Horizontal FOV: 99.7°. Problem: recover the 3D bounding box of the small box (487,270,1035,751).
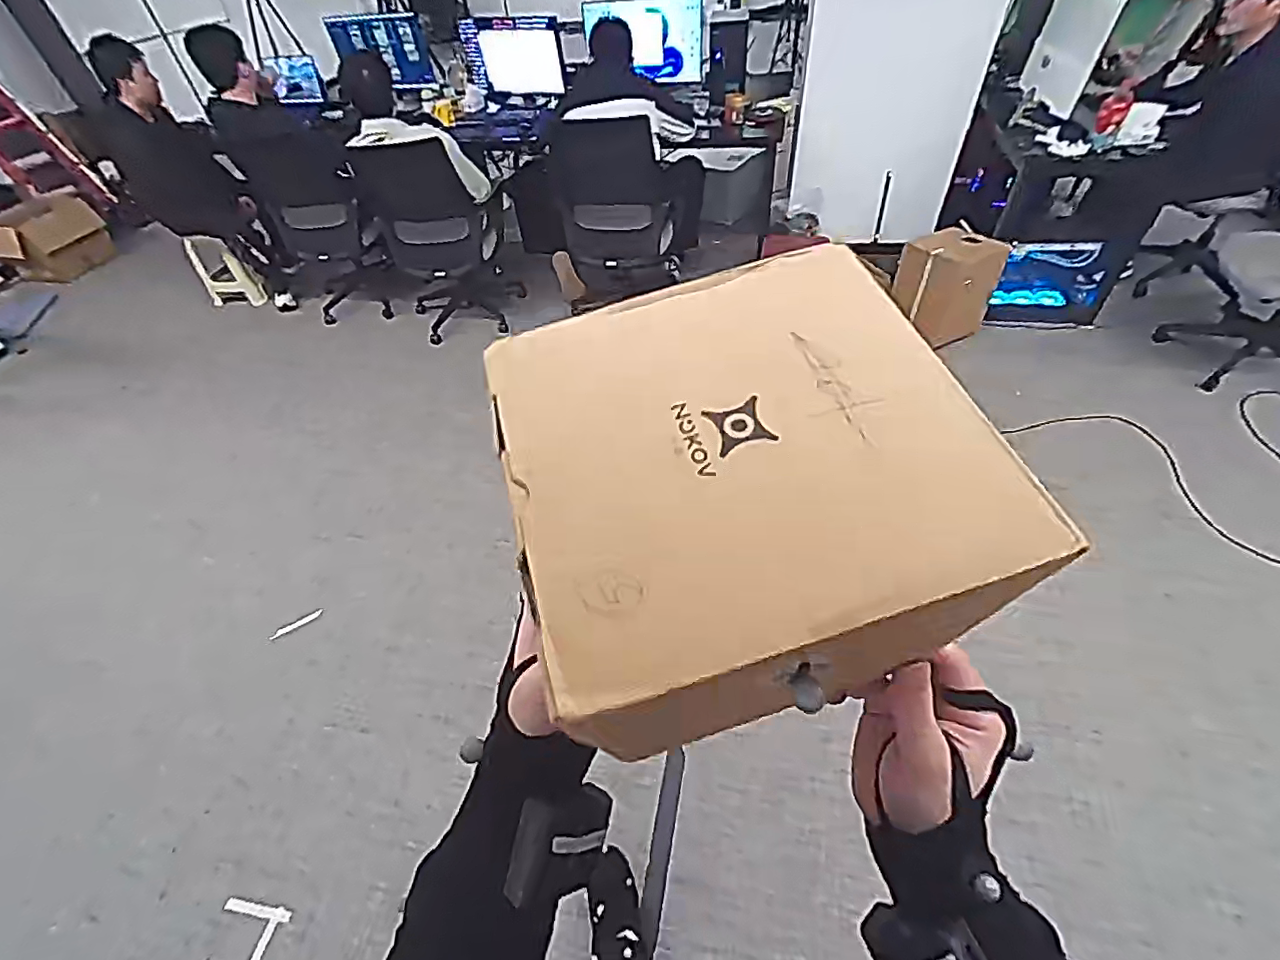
[{"bbox_3d":[0.041,0.029,0.288,0.179,0.176,0.168,-18,59,-4],"label":"small box"}]
